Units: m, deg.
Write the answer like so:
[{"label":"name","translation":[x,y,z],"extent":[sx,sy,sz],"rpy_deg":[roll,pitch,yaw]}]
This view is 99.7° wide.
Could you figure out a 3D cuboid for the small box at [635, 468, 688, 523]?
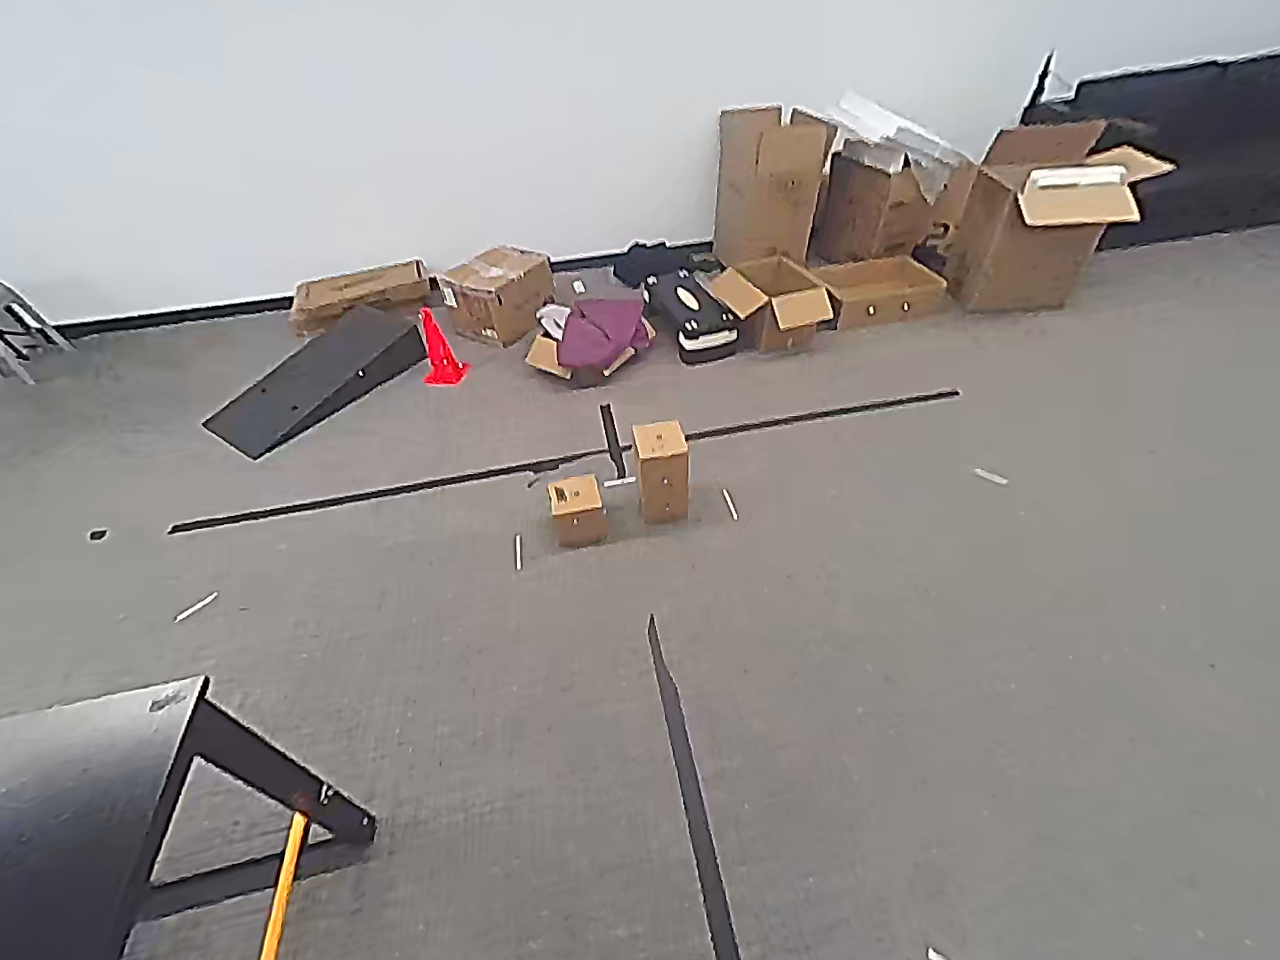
[{"label":"small box","translation":[0.081,0.044,2.011],"extent":[0.168,0.176,0.179],"rpy_deg":[-10,45,-6]}]

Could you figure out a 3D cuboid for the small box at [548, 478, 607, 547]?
[{"label":"small box","translation":[-0.224,0.121,1.950],"extent":[0.179,0.176,0.168],"rpy_deg":[-11,44,-6]}]

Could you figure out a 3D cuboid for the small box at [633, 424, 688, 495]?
[{"label":"small box","translation":[0.069,-0.071,1.891],"extent":[0.168,0.176,0.179],"rpy_deg":[-9,45,-5]}]
